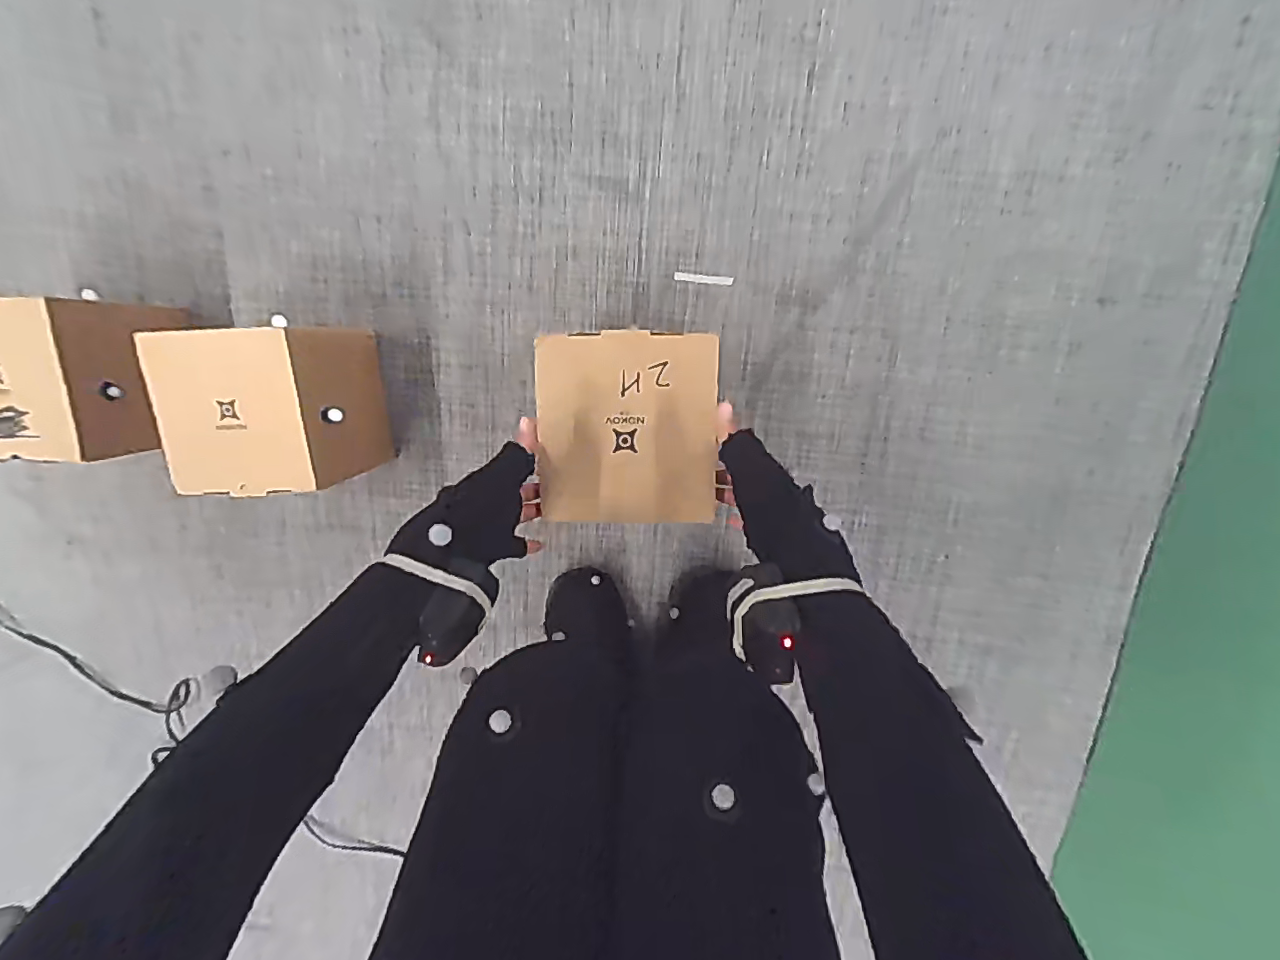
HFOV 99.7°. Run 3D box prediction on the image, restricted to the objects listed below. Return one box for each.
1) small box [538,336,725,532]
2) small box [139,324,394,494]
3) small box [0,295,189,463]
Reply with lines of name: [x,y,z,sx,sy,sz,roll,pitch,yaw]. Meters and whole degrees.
small box: [-0.005,-0.055,0.562,0.168,0.176,0.179,1,101,2]
small box: [-0.419,-0.090,0.641,0.168,0.176,0.179,-1,105,5]
small box: [-0.672,-0.125,0.647,0.168,0.176,0.179,2,104,3]
